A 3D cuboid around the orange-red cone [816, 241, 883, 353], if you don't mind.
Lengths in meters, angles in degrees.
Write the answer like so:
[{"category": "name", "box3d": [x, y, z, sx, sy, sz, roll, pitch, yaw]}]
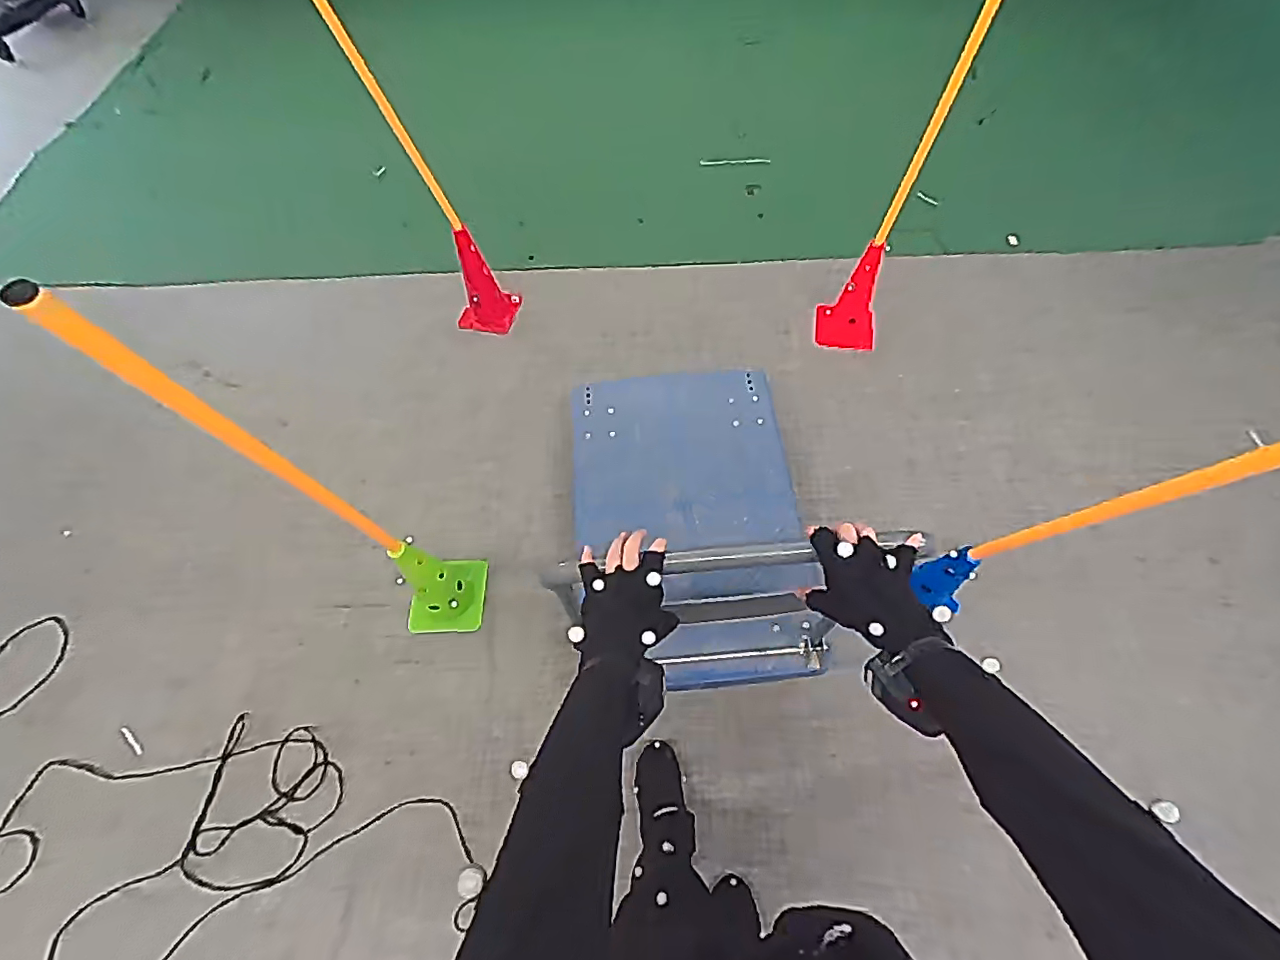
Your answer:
[{"category": "orange-red cone", "box3d": [0.716, -0.612, 1.760, 0.198, 0.360, 0.199, 8, 63, 8]}]
